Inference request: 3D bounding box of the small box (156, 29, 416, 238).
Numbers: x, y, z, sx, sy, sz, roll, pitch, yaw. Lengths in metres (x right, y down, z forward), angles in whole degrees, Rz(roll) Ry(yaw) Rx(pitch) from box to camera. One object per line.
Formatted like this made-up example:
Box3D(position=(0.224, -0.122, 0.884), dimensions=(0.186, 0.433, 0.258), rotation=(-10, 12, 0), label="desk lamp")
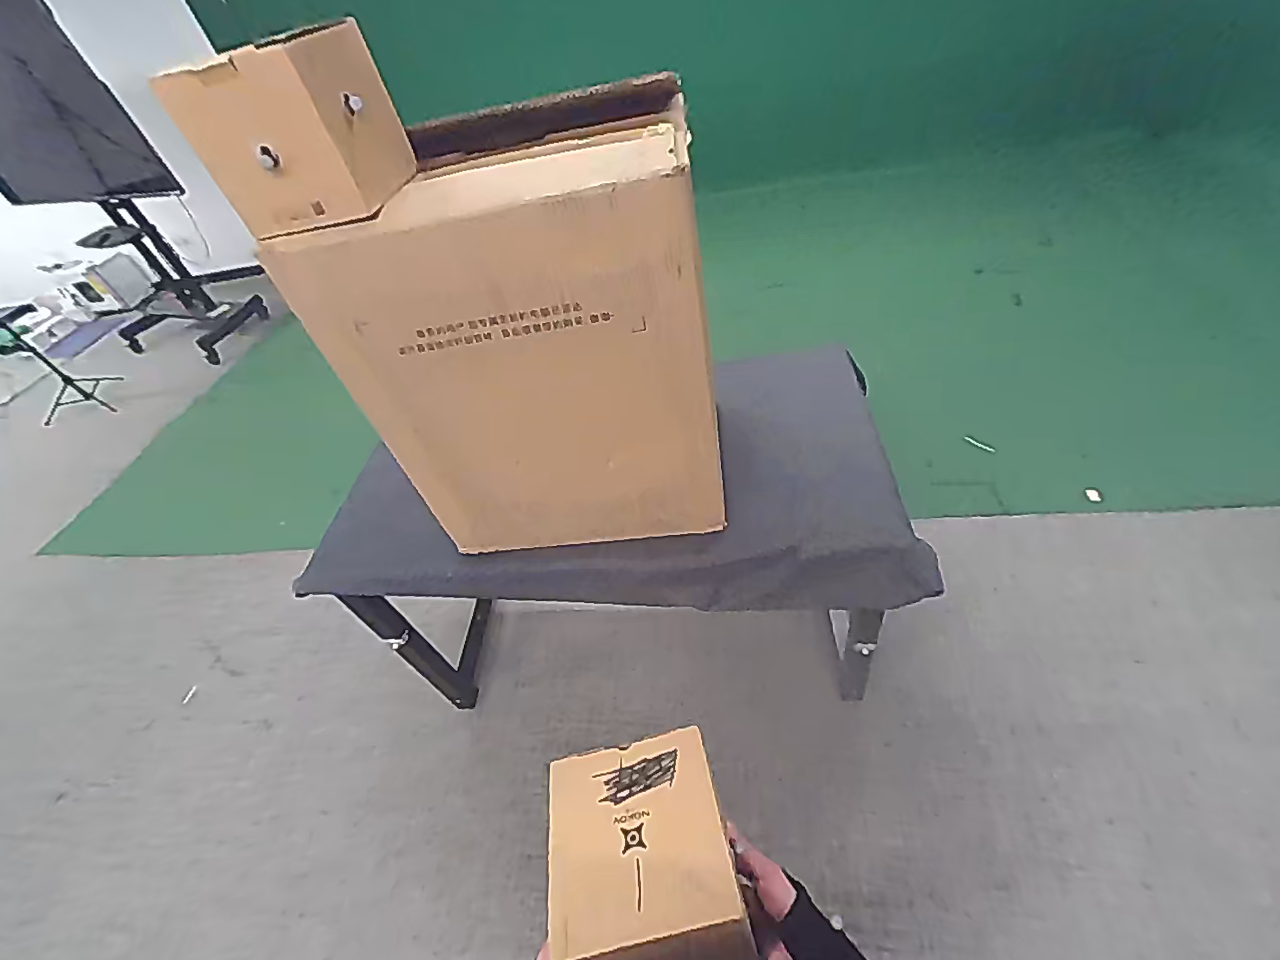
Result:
Box3D(position=(-0.405, -0.412, 0.660), dimensions=(0.168, 0.176, 0.179), rotation=(-6, 46, 10), label="small box")
